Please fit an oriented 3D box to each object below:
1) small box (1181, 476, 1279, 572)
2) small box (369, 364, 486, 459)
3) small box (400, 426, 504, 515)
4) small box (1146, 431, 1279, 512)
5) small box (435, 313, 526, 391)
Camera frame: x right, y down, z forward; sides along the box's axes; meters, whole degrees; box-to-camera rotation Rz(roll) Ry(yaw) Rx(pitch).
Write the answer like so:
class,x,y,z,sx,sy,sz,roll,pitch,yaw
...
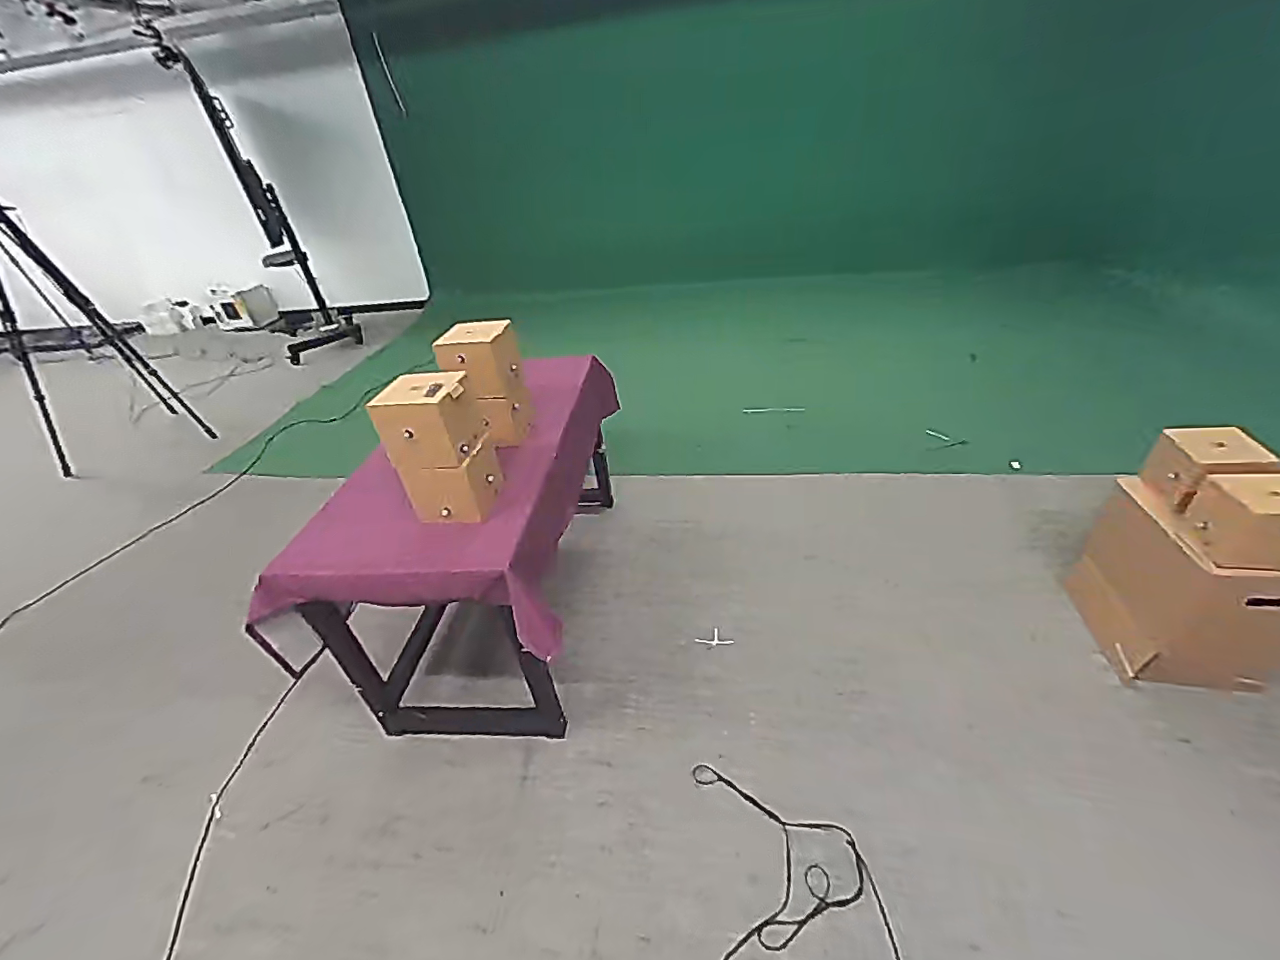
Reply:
class,x,y,z,sx,sy,sz,roll,pitch,yaw
small box,1.495,0.108,1.314,0.179,0.176,0.168,1,35,11
small box,-0.488,-0.159,1.274,0.179,0.176,0.168,-1,36,11
small box,-0.464,-0.025,1.366,0.179,0.176,0.168,0,35,10
small box,1.552,-0.021,1.487,0.179,0.176,0.168,0,39,11
small box,-0.449,-0.366,1.555,0.179,0.176,0.168,1,37,12
